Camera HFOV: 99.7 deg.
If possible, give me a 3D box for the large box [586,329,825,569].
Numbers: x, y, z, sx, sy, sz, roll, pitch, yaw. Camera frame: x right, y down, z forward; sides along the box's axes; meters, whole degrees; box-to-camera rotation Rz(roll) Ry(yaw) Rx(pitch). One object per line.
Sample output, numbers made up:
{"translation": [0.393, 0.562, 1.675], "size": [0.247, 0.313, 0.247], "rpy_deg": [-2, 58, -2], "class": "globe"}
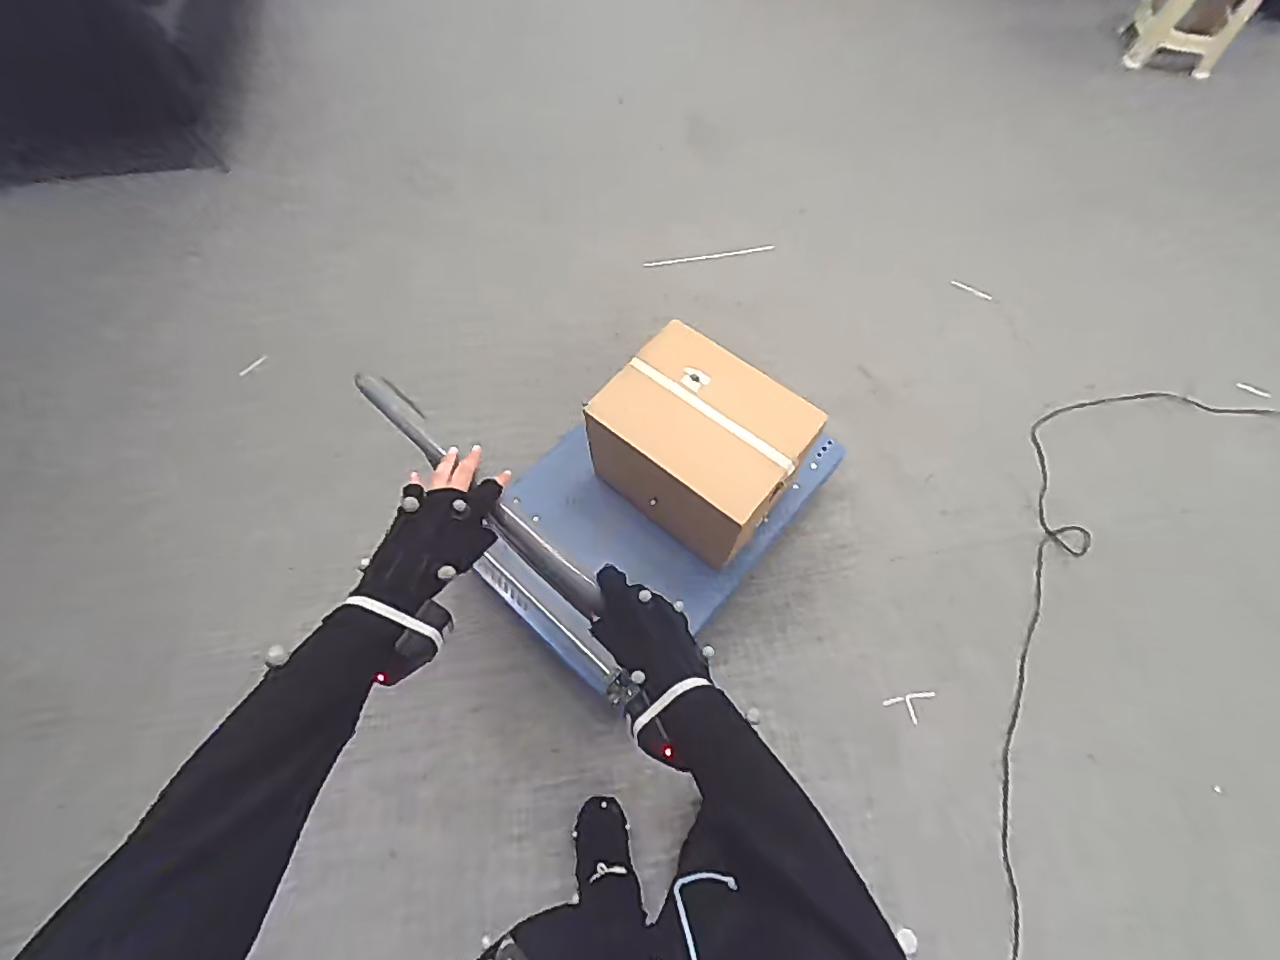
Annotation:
{"translation": [0.139, -0.061, 1.246], "size": [0.408, 0.320, 0.320], "rpy_deg": [36, 68, 17], "class": "large box"}
